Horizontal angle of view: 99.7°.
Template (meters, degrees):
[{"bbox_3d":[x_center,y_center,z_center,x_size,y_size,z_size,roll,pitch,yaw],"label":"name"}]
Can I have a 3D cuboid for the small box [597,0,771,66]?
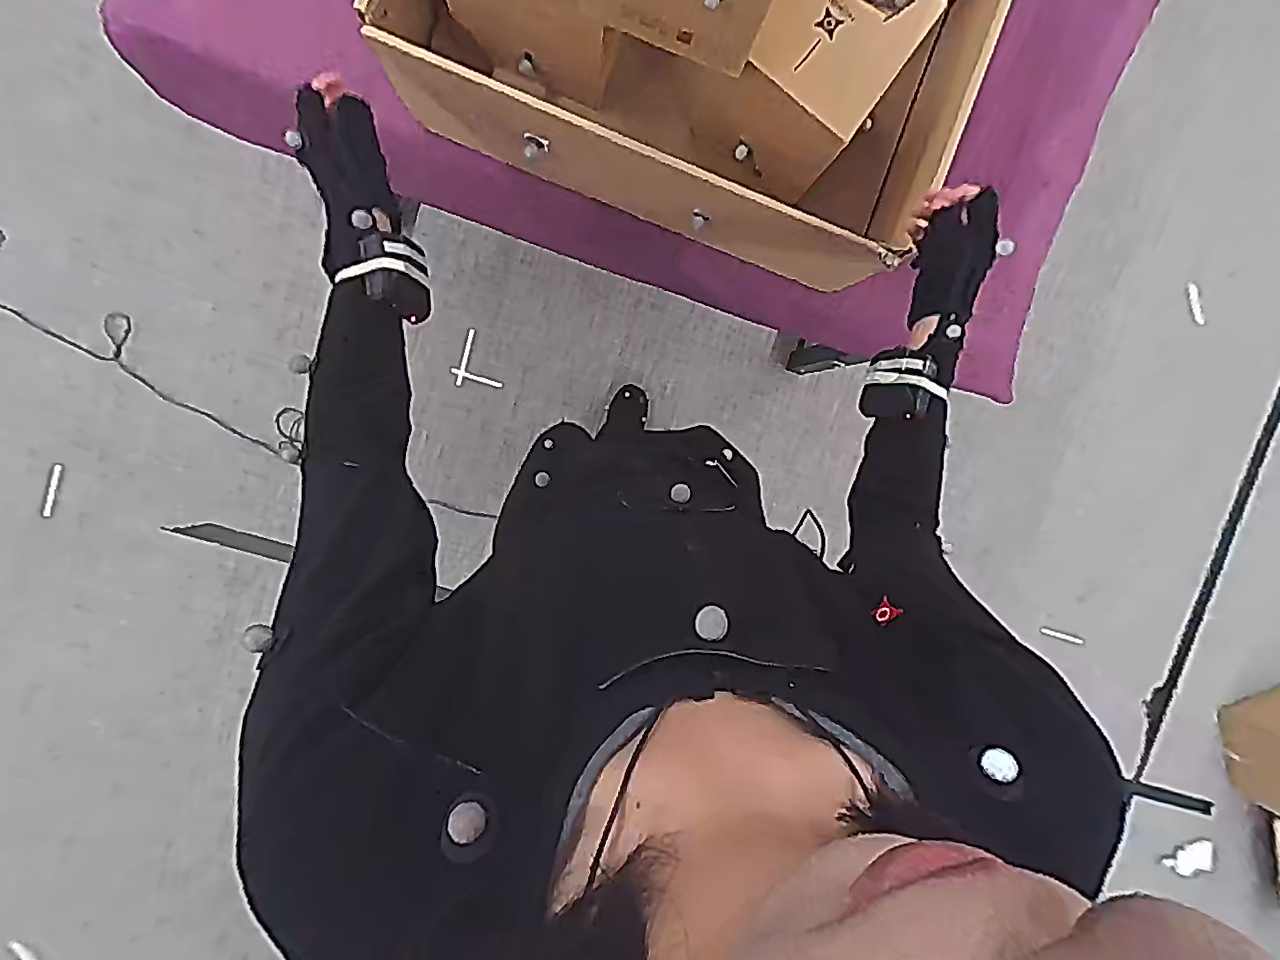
[{"bbox_3d":[0.053,-0.485,0.426,0.168,0.176,0.179,17,93,-9],"label":"small box"}]
